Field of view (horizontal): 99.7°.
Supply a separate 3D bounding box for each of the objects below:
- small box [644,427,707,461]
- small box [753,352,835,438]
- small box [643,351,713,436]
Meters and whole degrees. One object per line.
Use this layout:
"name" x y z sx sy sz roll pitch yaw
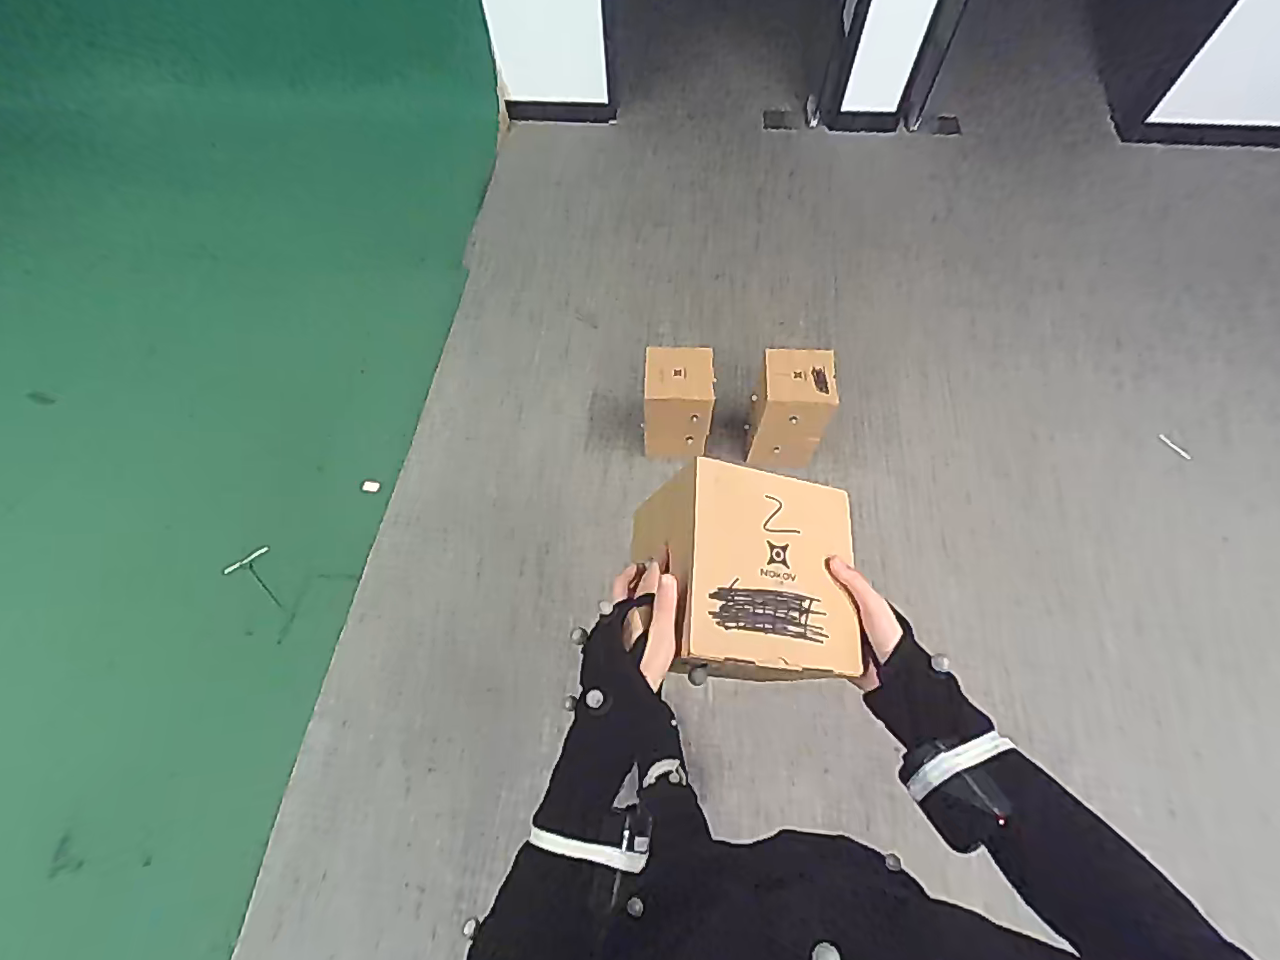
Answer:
"small box" 0.105 -0.165 1.609 0.179 0.176 0.168 1 63 3
"small box" 0.403 -0.222 1.441 0.179 0.176 0.168 2 63 4
"small box" 0.101 -0.229 1.458 0.179 0.176 0.168 1 63 4
